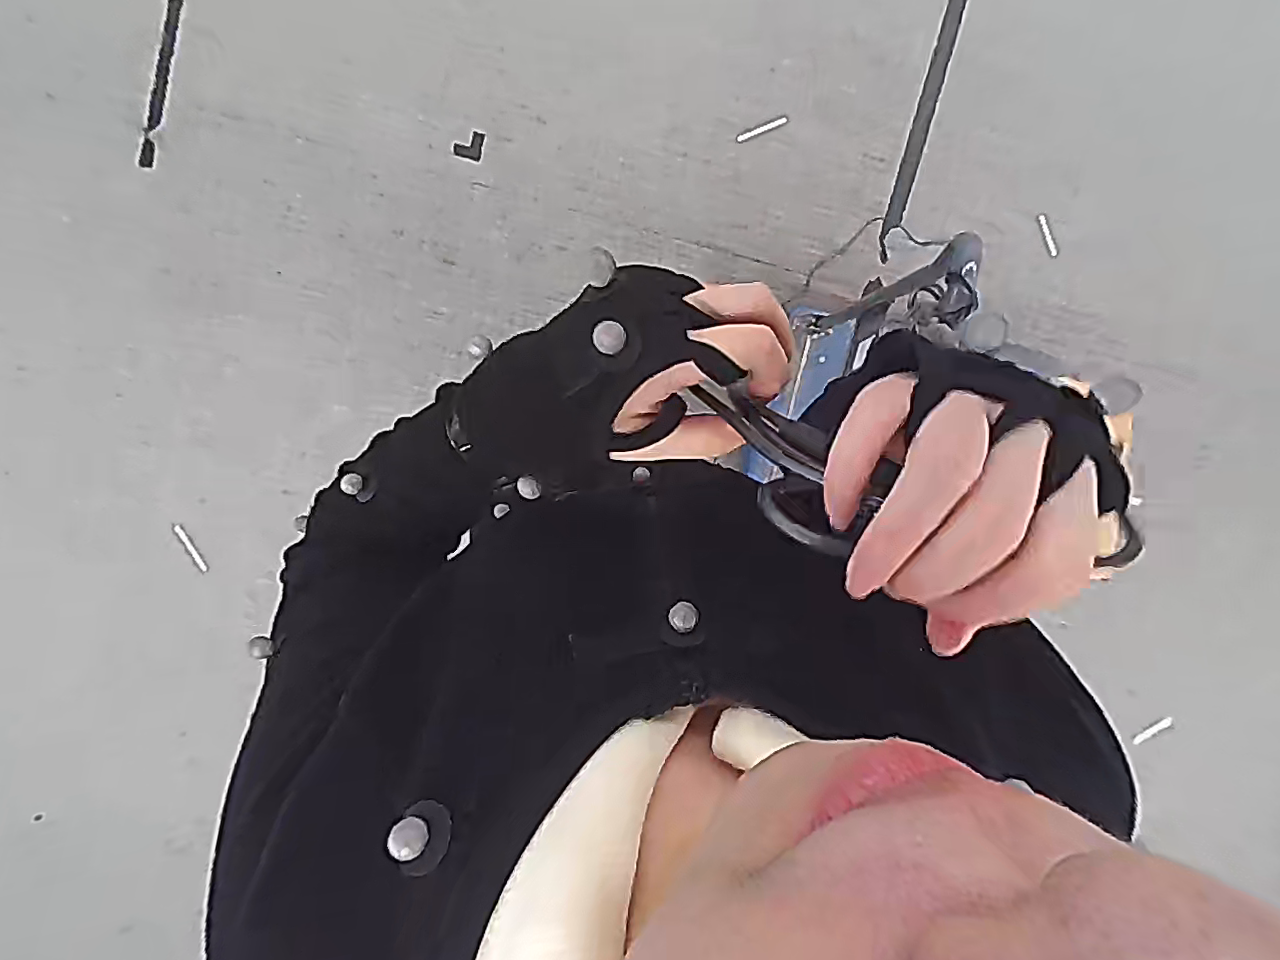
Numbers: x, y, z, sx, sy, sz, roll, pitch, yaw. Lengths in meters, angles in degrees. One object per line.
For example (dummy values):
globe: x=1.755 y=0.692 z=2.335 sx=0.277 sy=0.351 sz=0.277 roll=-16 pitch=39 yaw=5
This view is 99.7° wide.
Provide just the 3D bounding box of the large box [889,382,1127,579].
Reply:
large box: x=0.803 y=-0.014 z=1.233 sx=0.320 sy=0.320 sz=0.408 roll=1 pitch=97 yaw=-4
